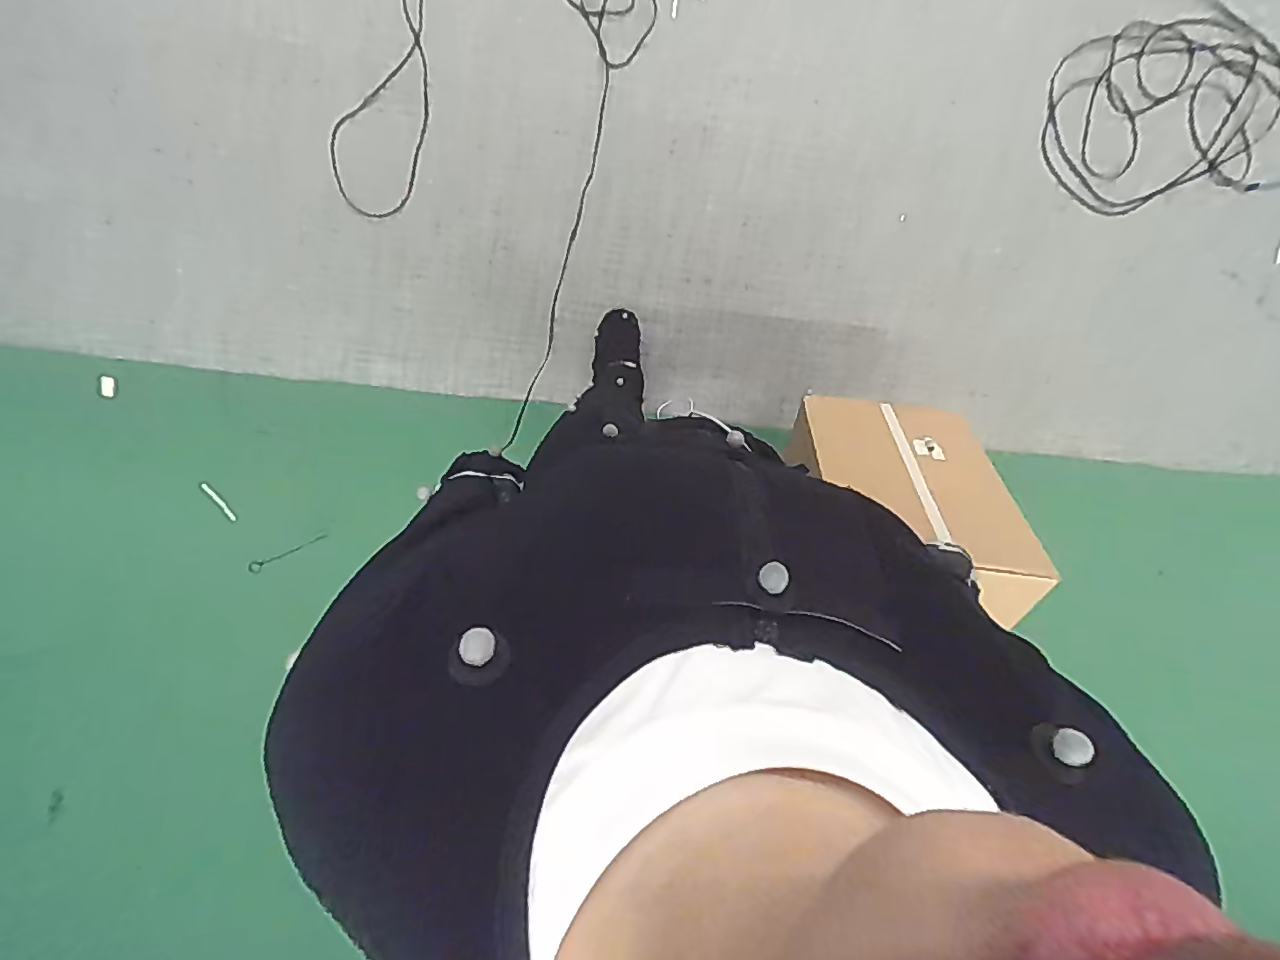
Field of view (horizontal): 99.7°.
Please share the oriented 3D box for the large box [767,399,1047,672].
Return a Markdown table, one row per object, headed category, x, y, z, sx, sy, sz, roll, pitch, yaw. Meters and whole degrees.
| category | x | y | z | sx | sy | sz | roll | pitch | yaw |
| --- | --- | --- | --- | --- | --- | --- | --- | --- | --- |
| large box | 0.439 | 0.097 | 1.020 | 0.320 | 0.408 | 0.320 | 7 | 132 | 0 |
